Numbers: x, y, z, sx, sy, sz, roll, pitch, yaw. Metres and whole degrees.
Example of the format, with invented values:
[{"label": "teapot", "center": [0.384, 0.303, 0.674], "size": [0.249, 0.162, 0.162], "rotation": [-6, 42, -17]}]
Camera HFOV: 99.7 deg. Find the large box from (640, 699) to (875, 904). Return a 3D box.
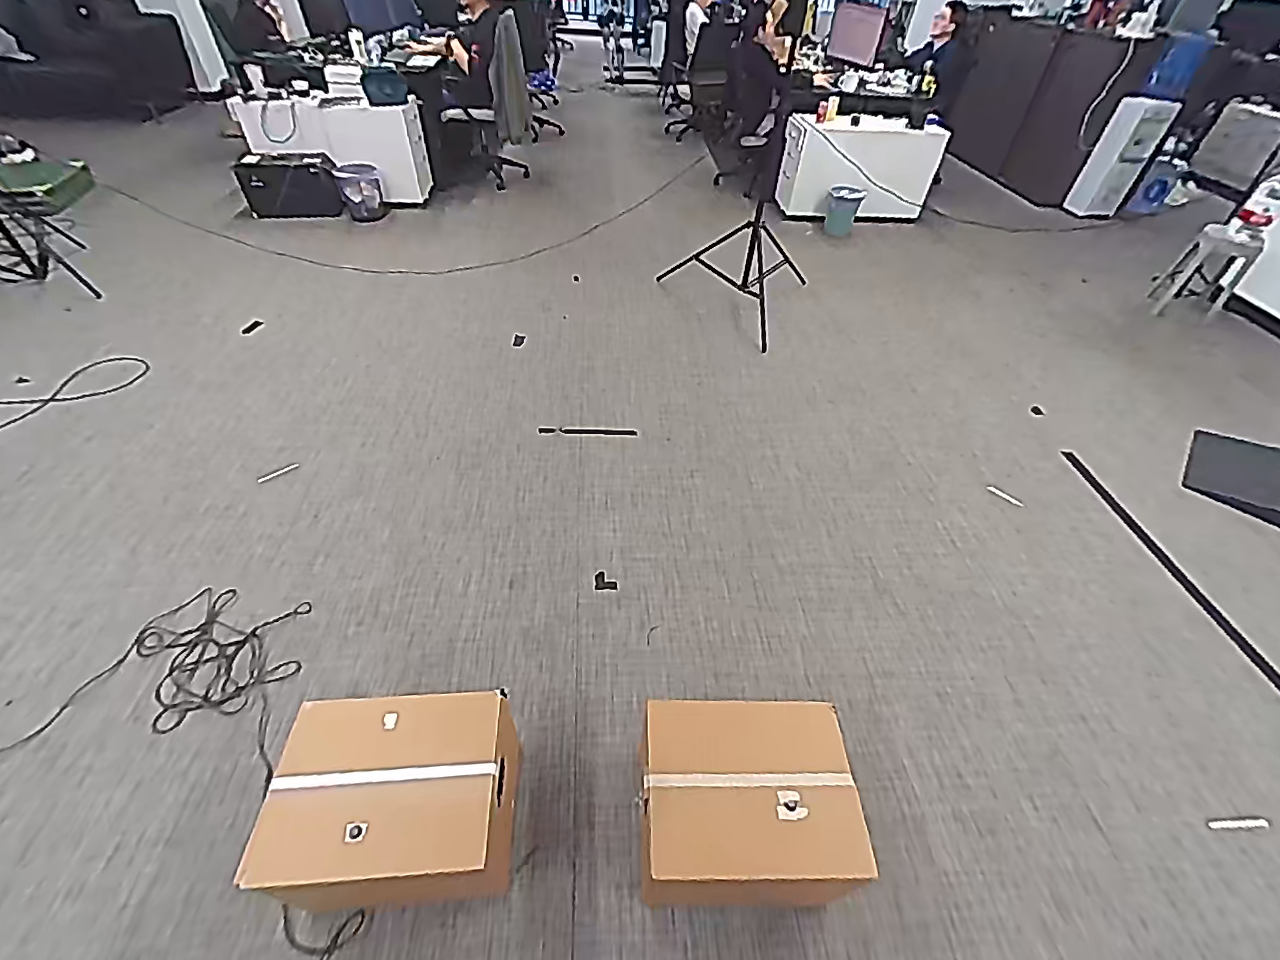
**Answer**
[{"label": "large box", "center": [0.211, 0.688, 1.160], "size": [0.408, 0.320, 0.320], "rotation": [2, 45, -3]}]
